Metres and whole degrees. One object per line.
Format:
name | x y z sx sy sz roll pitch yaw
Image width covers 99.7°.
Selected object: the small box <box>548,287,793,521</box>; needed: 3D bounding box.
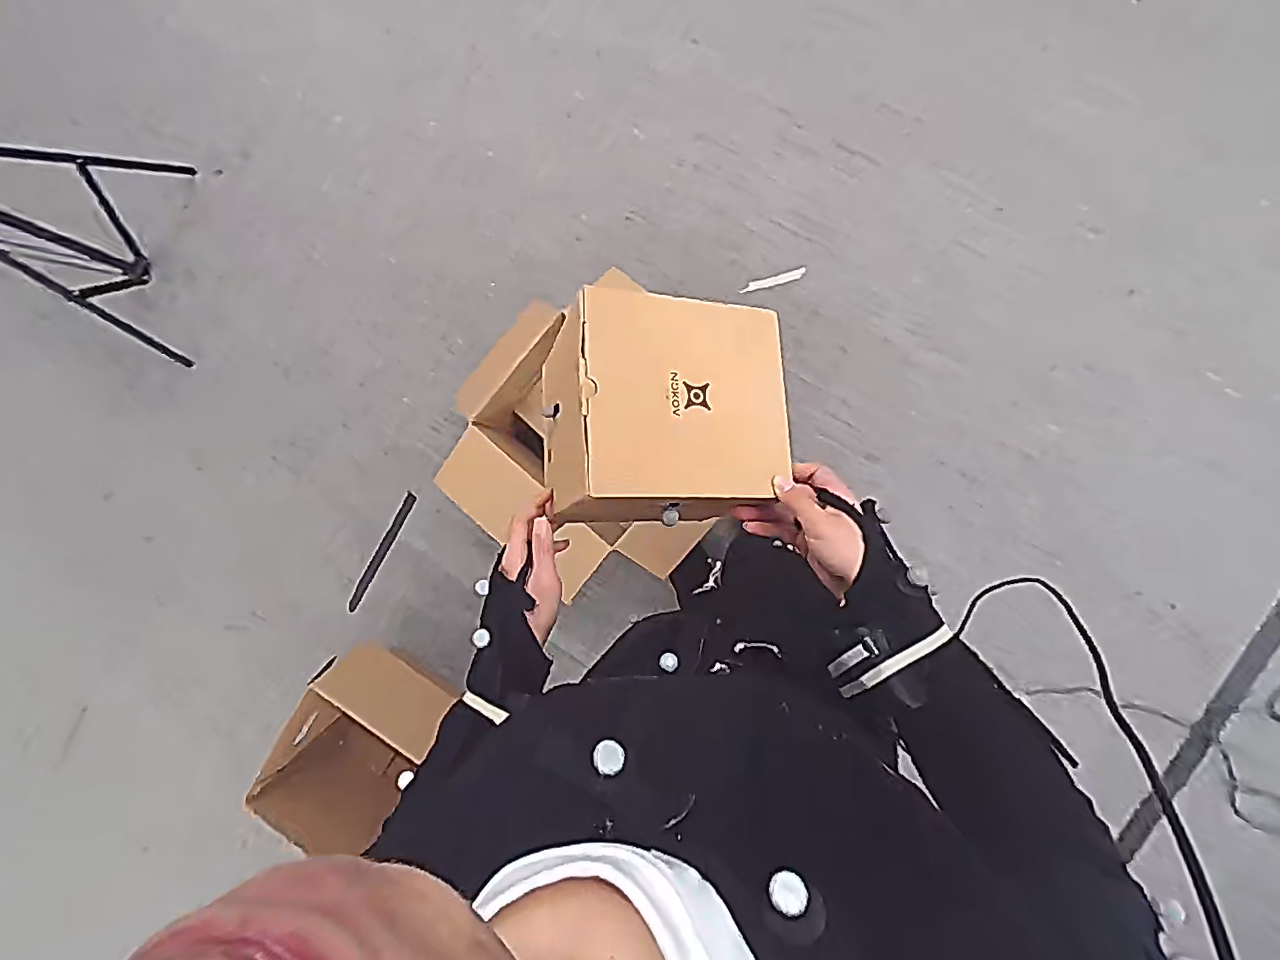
small box | 0.017 -0.053 0.502 0.179 0.176 0.168 1 80 -19
